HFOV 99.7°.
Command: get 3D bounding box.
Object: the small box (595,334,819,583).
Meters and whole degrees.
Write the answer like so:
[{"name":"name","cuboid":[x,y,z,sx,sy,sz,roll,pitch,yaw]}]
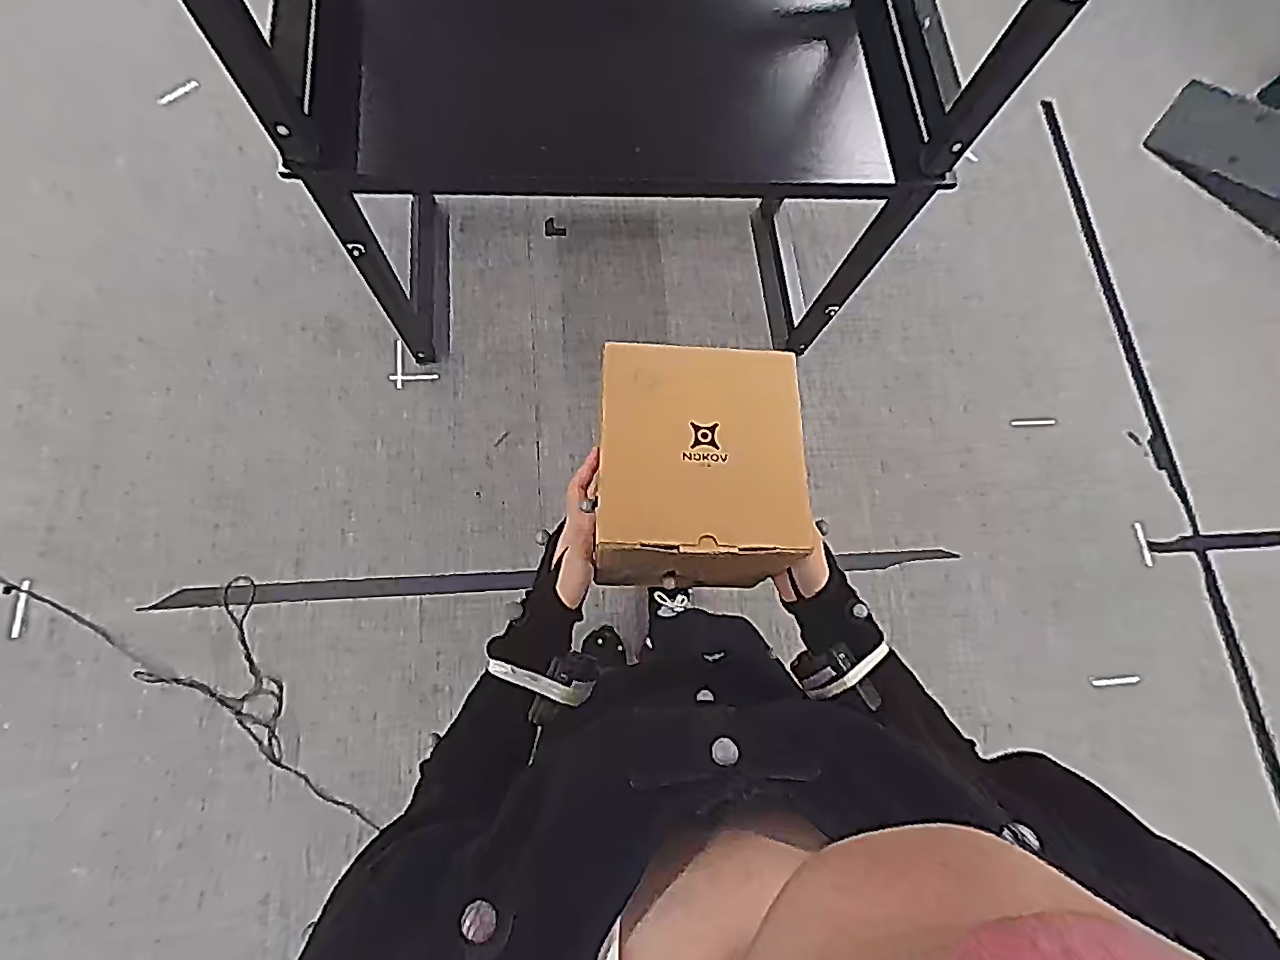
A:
[{"name":"small box","cuboid":[0.045,-0.008,0.496,0.168,0.176,0.179,2,71,-5]}]
